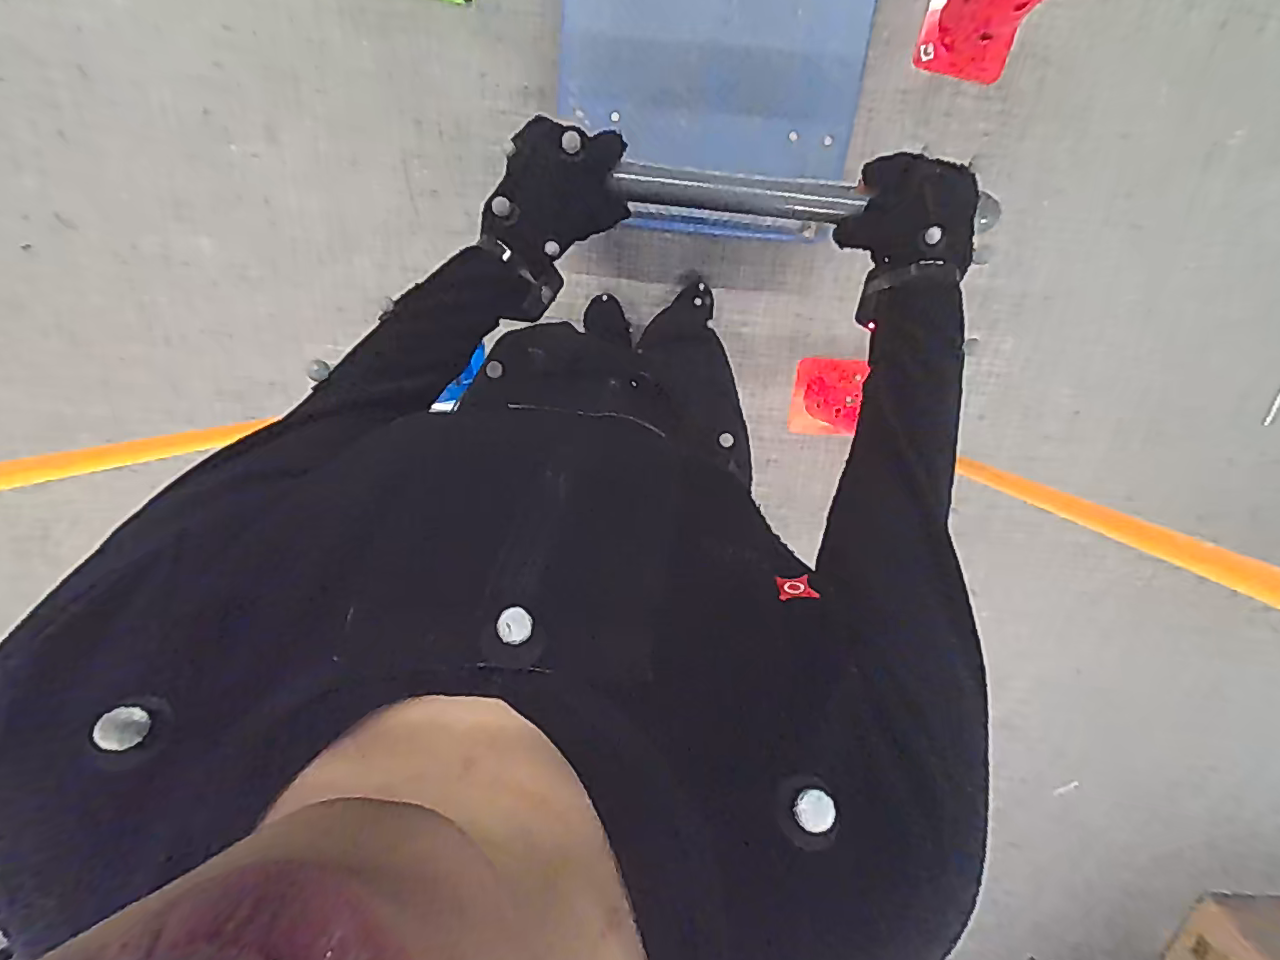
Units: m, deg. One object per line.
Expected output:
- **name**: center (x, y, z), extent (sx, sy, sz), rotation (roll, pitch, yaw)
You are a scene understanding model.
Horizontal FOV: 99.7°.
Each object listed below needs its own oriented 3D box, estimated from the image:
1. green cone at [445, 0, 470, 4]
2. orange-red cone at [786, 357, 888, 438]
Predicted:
- **green cone**: center (-0.427, -1.041, 0.933), extent (0.202, 0.368, 0.200), rotation (9, 110, -3)
- **orange-red cone**: center (0.495, -0.163, 1.277), extent (0.199, 0.360, 0.198), rotation (5, 110, 0)
